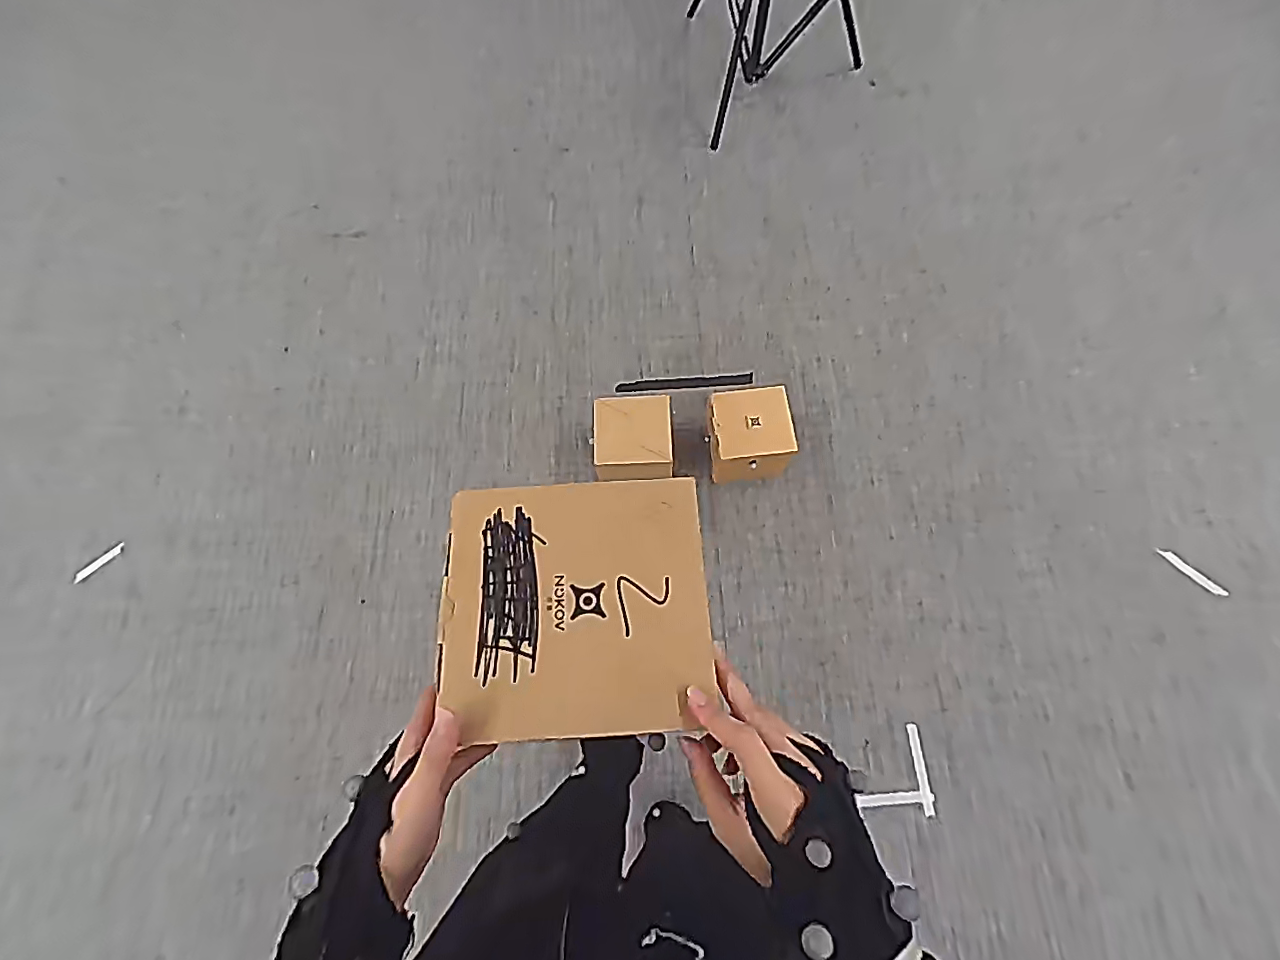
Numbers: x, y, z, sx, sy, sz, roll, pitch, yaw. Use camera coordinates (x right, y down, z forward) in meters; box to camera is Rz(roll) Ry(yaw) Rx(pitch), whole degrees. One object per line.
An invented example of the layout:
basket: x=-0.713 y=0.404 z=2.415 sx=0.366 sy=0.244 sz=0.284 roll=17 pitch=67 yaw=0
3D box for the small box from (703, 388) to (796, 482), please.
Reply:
small box: x=0.256 y=-0.102 z=1.299 sx=0.179 sy=0.176 sz=0.168 roll=-7 pitch=72 yaw=-1

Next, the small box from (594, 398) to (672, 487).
small box: x=-0.014 y=-0.087 z=1.299 sx=0.179 sy=0.176 sz=0.168 roll=-2 pitch=72 yaw=1
